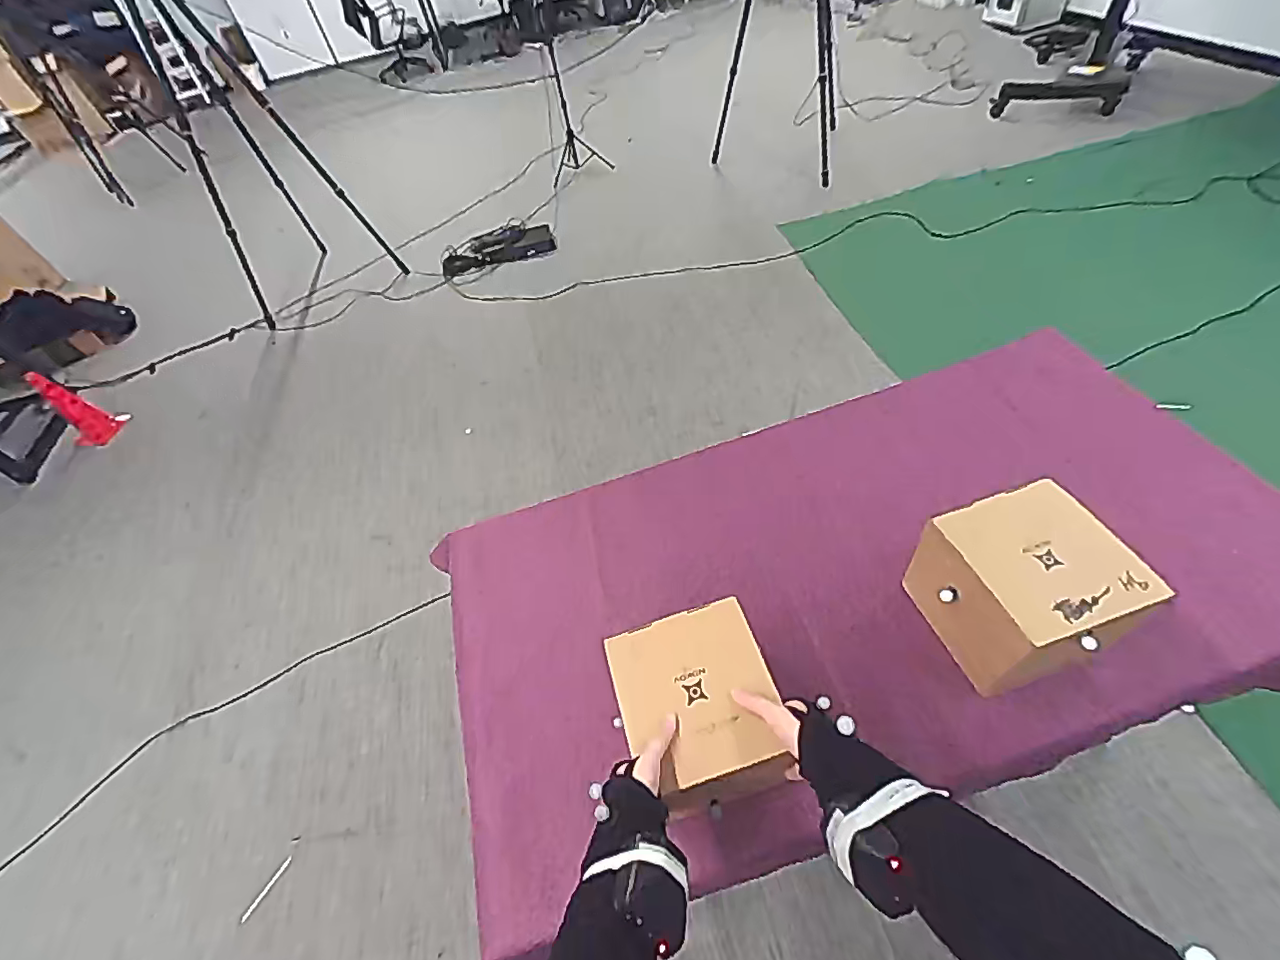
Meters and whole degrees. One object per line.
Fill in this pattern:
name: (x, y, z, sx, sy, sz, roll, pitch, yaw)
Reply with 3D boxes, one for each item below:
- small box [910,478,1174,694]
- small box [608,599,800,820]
small box: (0.468, 0.133, 0.670, 0.168, 0.176, 0.179, -19, 49, -3)
small box: (0.073, 0.274, 0.642, 0.168, 0.176, 0.179, -18, 51, -2)
